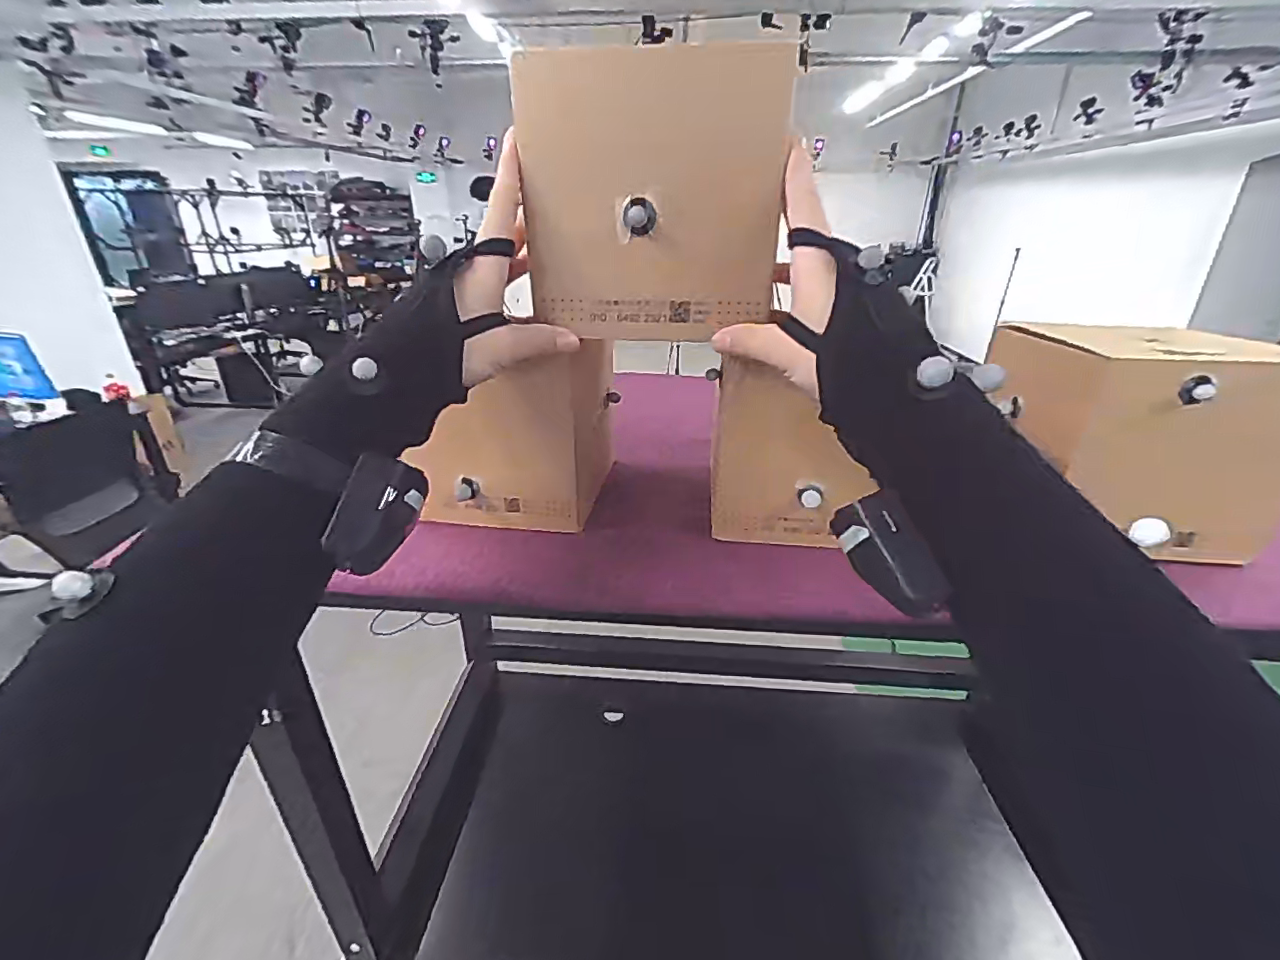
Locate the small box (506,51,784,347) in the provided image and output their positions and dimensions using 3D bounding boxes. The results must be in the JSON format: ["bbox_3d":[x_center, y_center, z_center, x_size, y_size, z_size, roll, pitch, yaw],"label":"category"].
[{"bbox_3d":[0.013,-0.206,0.418,0.168,0.176,0.179,4,29,7],"label":"small box"}]

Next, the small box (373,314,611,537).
[{"bbox_3d":[-0.125,-0.063,0.531,0.168,0.176,0.179,3,26,7],"label":"small box"}]

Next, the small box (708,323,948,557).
[{"bbox_3d":[0.152,-0.048,0.508,0.168,0.176,0.179,3,25,6],"label":"small box"}]

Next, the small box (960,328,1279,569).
[{"bbox_3d":[0.425,-0.039,0.494,0.168,0.176,0.179,3,24,6],"label":"small box"}]
